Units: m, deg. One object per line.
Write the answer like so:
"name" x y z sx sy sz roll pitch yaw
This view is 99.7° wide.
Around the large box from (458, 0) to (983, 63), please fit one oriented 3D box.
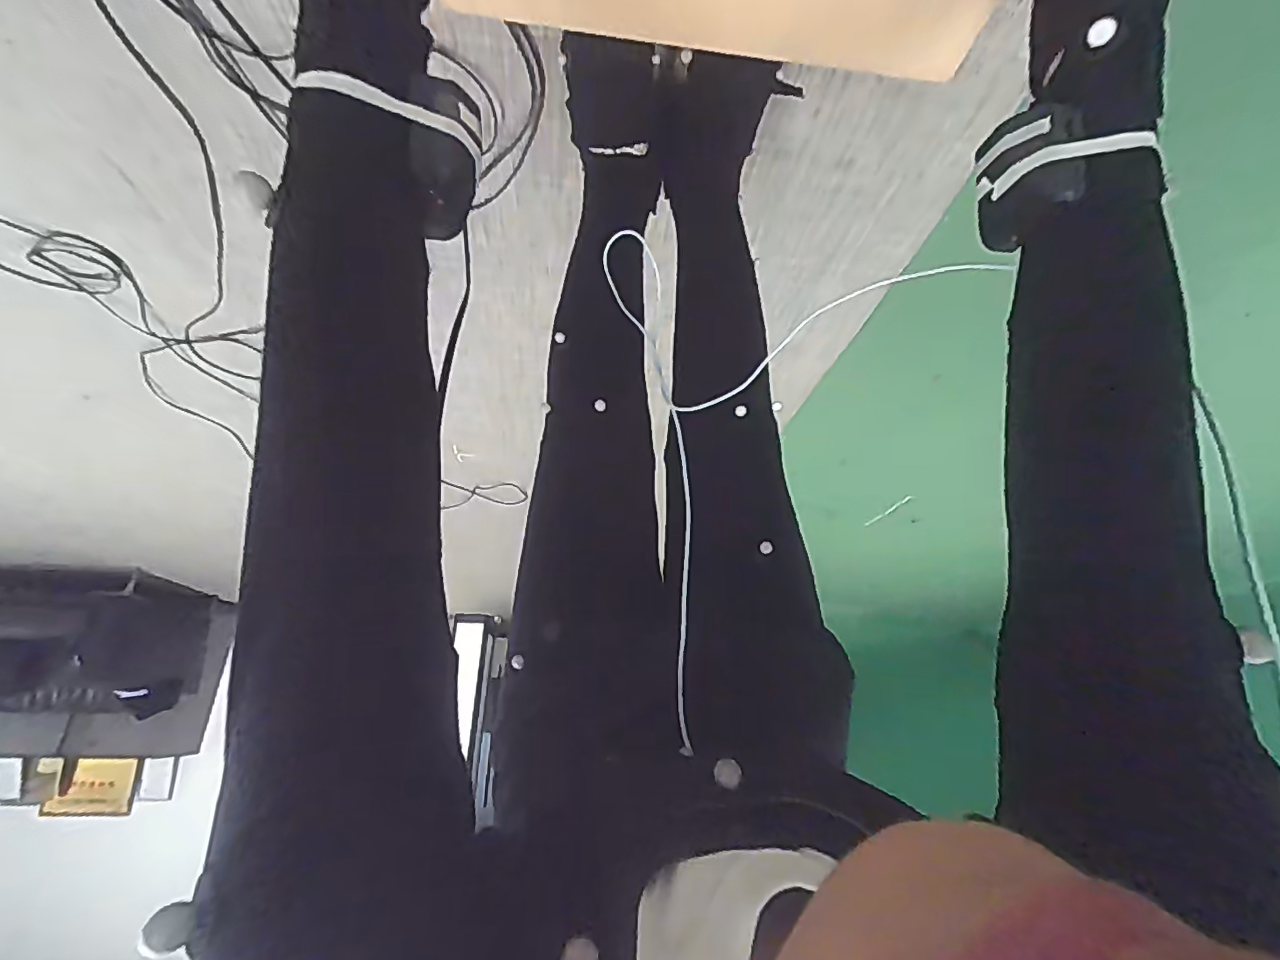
"large box" 0.071 -0.548 0.350 0.408 0.320 0.320 3 156 -6
